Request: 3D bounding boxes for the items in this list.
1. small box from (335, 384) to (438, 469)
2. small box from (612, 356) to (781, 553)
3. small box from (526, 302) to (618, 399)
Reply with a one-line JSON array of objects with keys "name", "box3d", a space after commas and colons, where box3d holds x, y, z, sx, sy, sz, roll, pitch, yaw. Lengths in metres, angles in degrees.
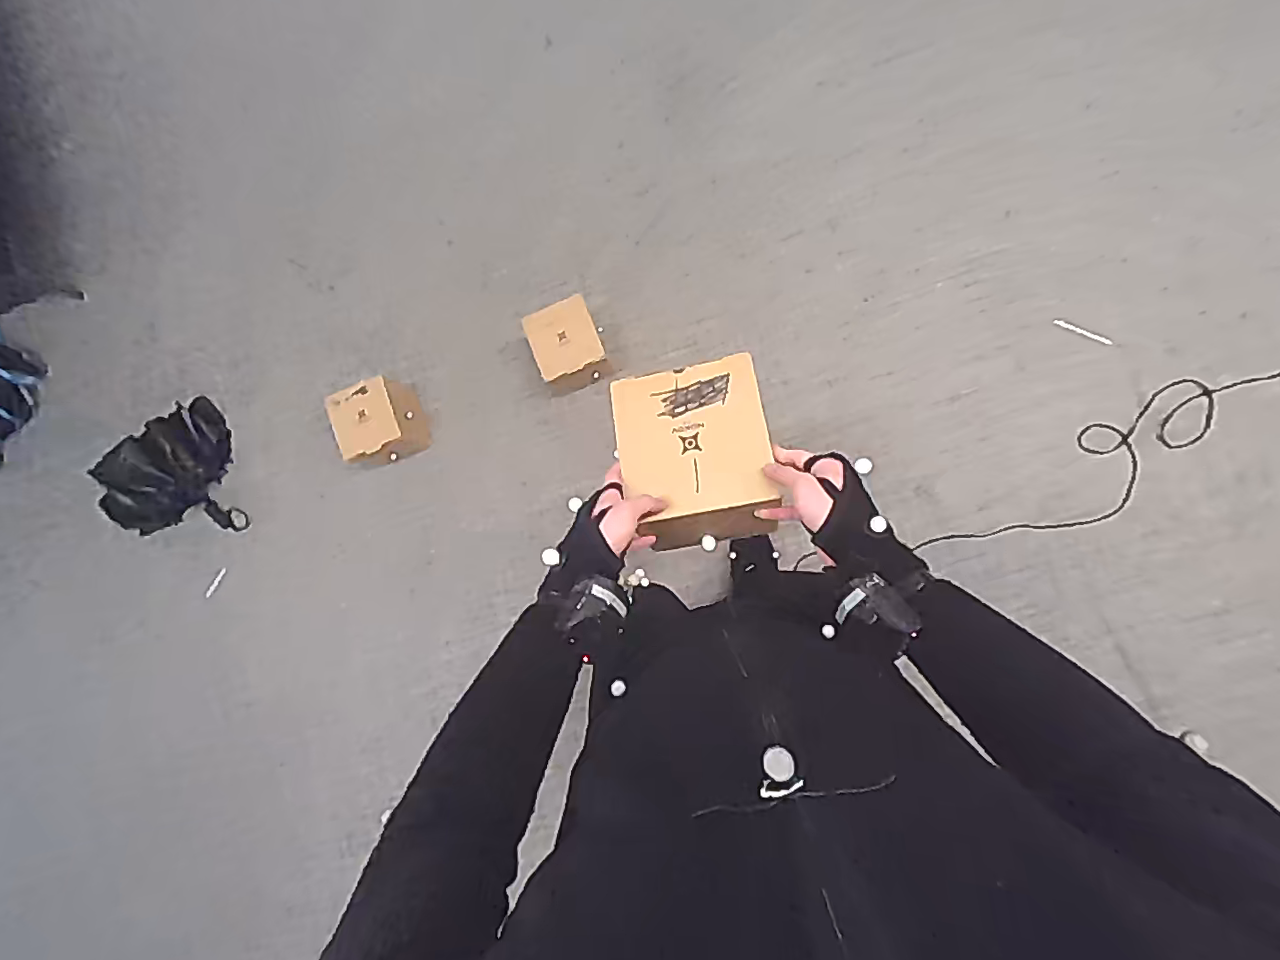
[{"name": "small box", "box3d": [-0.675, -0.136, 1.459, 0.168, 0.176, 0.179, -21, 84, 5]}, {"name": "small box", "box3d": [0.072, -0.021, 0.662, 0.168, 0.176, 0.179, -11, 70, 10]}, {"name": "small box", "box3d": [-0.169, -0.325, 1.407, 0.168, 0.176, 0.179, -23, 82, 4]}]
